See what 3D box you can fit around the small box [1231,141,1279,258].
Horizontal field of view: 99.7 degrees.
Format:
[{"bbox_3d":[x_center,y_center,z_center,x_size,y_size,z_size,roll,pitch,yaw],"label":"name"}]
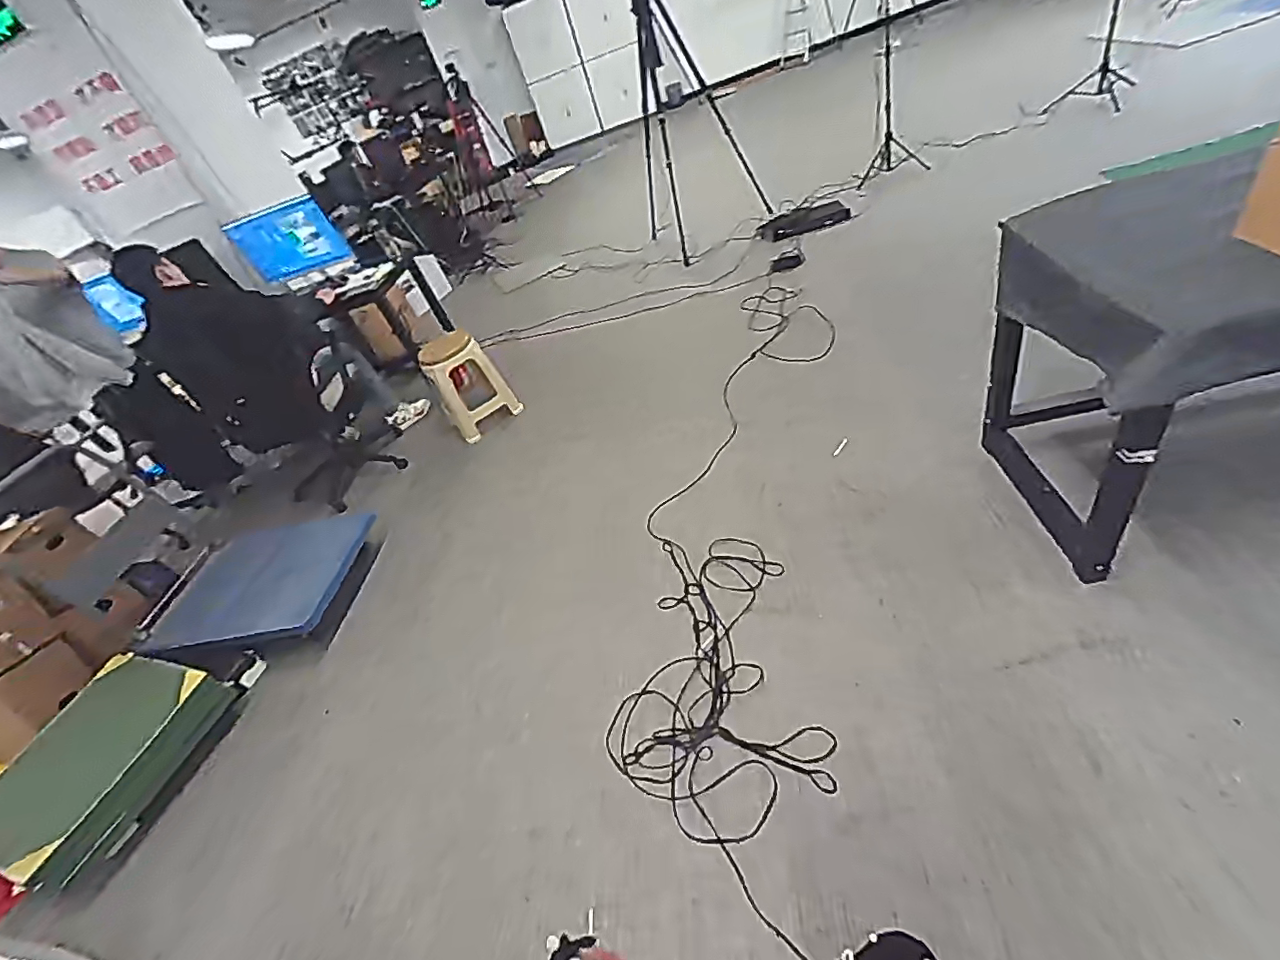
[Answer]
[{"bbox_3d":[1.167,-0.480,0.898,0.168,0.176,0.179,-14,40,10],"label":"small box"}]
